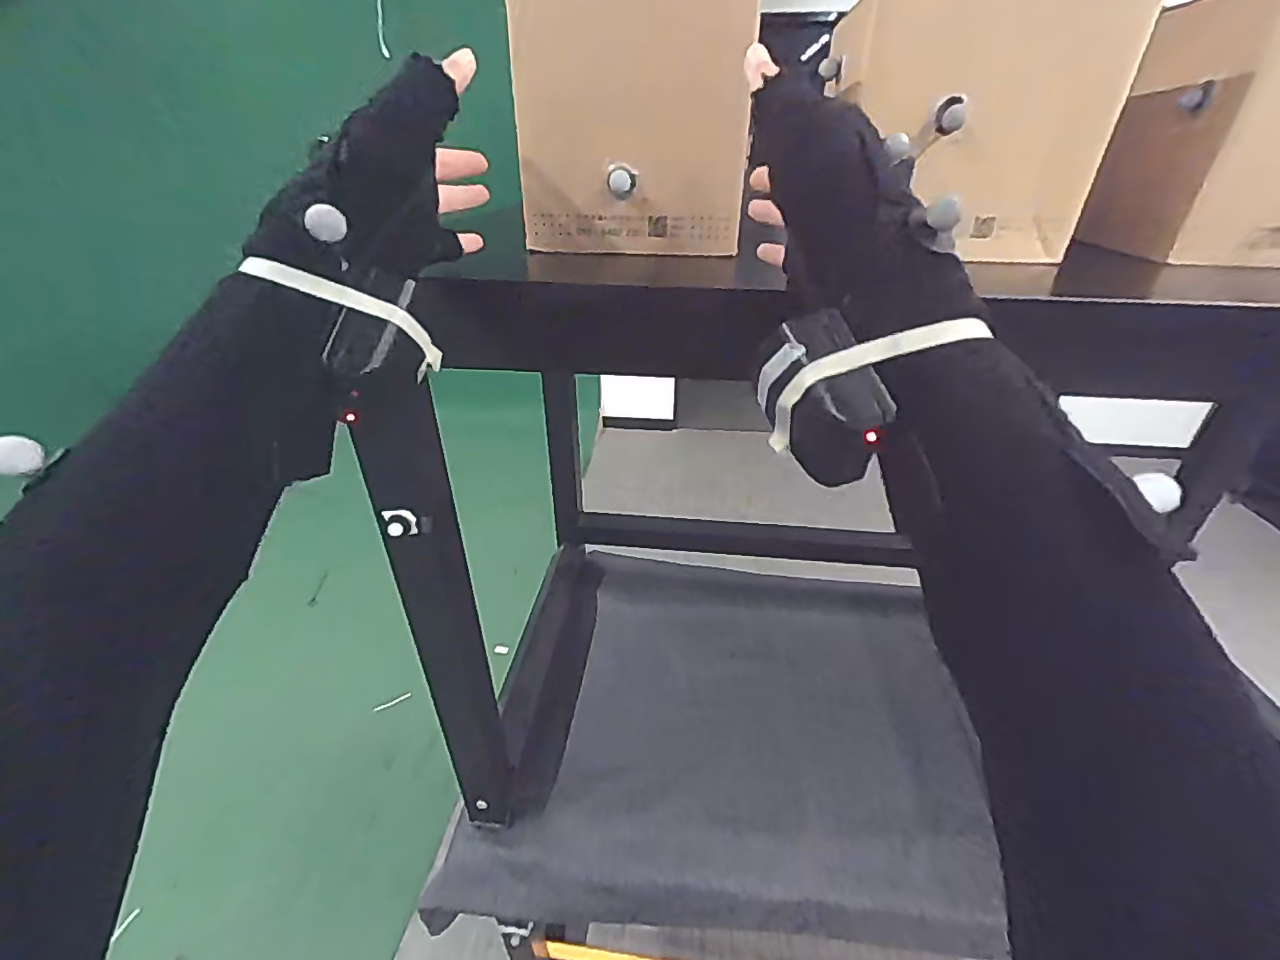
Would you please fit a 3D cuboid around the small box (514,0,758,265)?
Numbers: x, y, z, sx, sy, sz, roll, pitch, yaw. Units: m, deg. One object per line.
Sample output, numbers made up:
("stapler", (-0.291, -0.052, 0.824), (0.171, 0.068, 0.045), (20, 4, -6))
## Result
("small box", (0.002, -0.290, 0.461), (0.168, 0.176, 0.179), (3, 32, 4))
